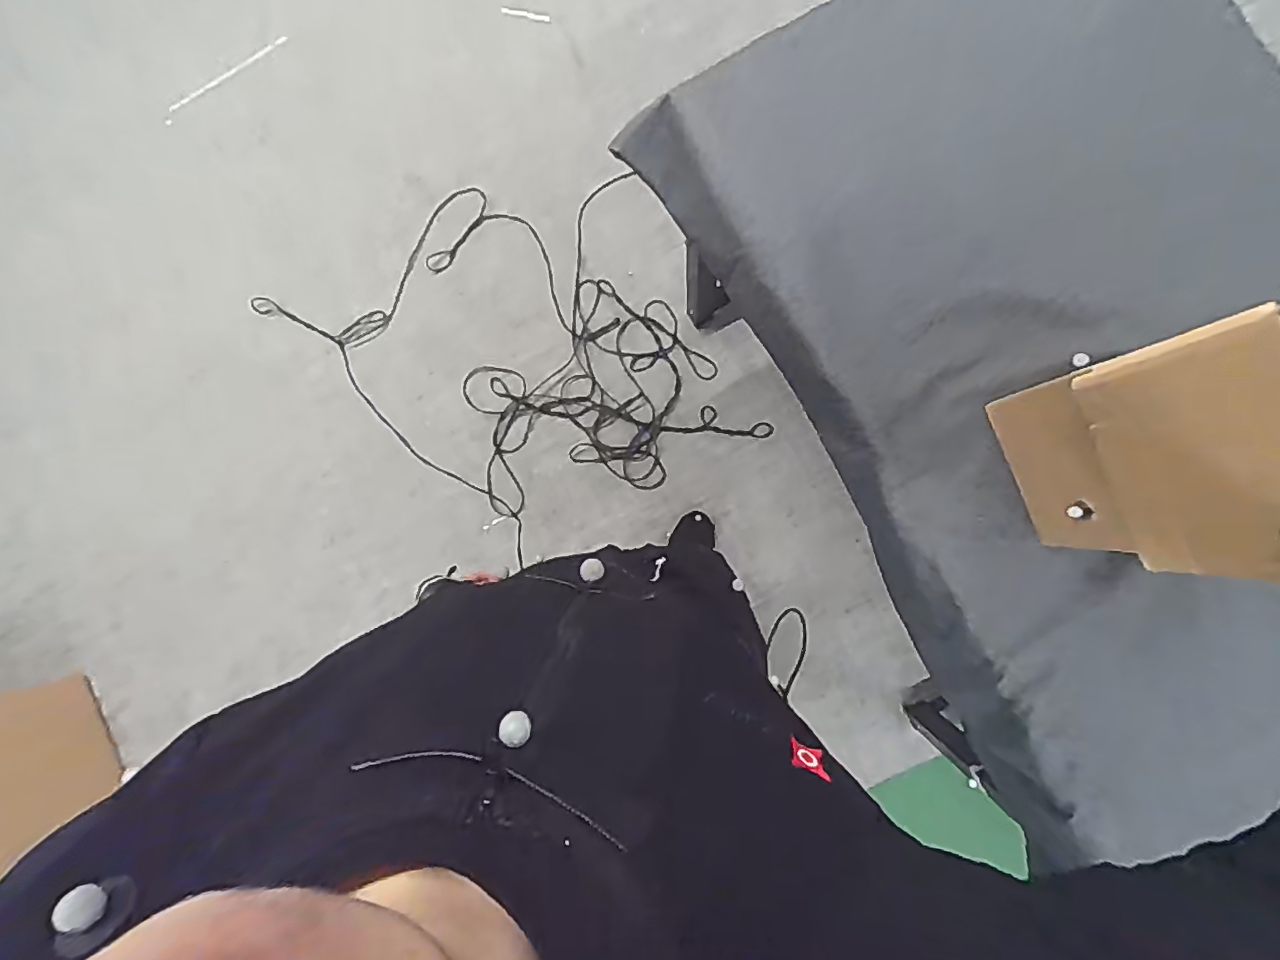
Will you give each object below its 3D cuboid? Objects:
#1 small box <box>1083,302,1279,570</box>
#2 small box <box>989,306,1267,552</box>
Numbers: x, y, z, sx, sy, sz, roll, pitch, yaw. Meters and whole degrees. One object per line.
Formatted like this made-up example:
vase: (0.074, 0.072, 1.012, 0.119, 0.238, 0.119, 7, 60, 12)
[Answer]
small box: (0.472, -0.039, 0.381, 0.168, 0.176, 0.179, -19, 87, 2)
small box: (0.501, -0.040, 0.543, 0.168, 0.176, 0.179, -20, 85, 2)
